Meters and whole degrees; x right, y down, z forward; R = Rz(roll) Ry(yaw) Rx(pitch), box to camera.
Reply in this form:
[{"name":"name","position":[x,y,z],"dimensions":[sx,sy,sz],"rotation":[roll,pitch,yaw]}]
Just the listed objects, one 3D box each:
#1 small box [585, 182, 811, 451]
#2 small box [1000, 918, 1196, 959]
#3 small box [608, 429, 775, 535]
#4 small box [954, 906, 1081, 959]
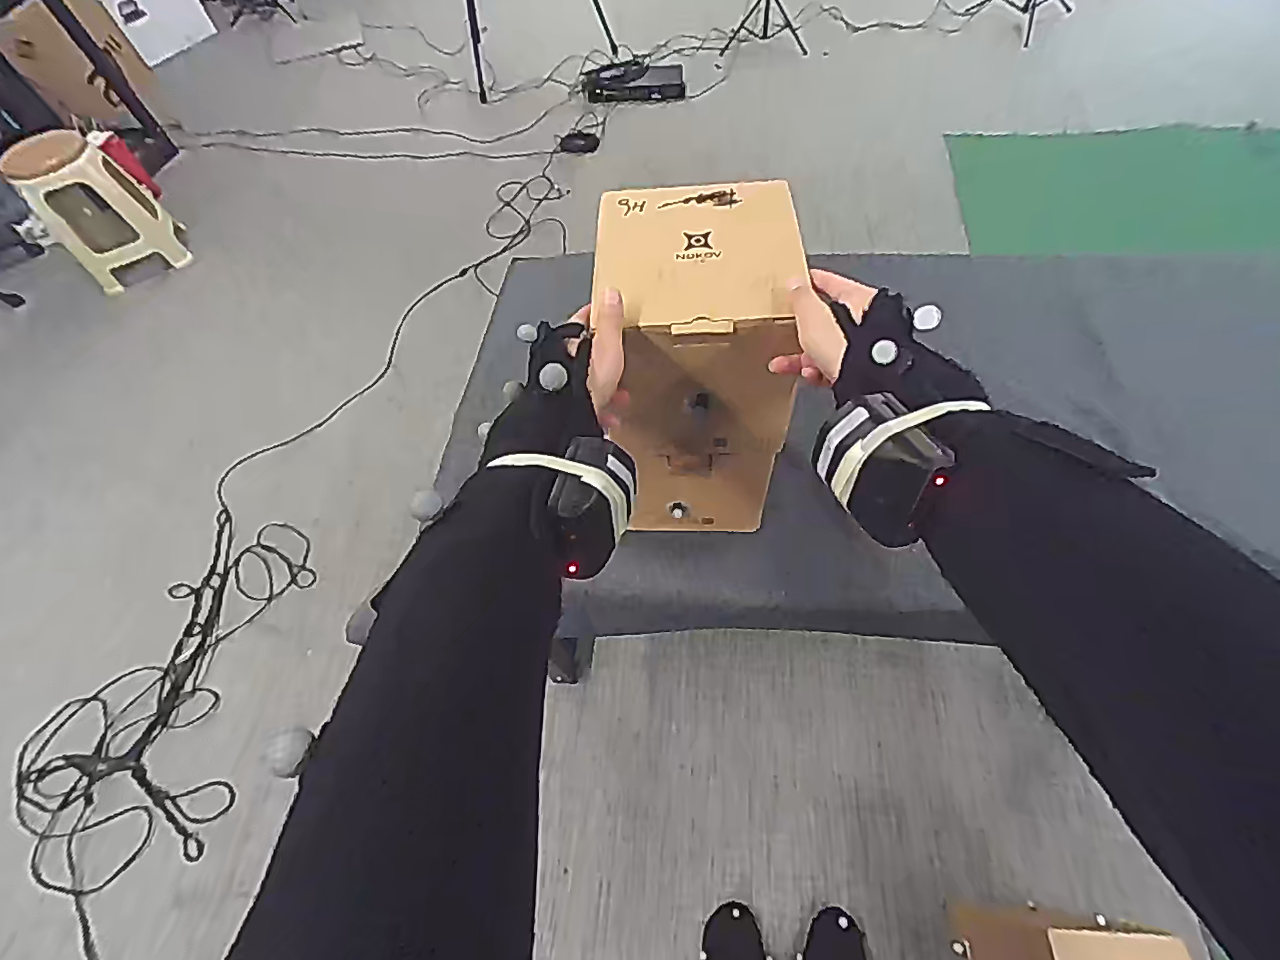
[{"name":"small box","position":[0.050,-0.136,0.495],"dimensions":[0.168,0.176,0.179],"rotation":[-2,59,4]},{"name":"small box","position":[0.652,0.729,0.754],"dimensions":[0.179,0.176,0.168],"rotation":[-1,57,6]},{"name":"small box","position":[0.059,-0.052,0.635],"dimensions":[0.168,0.176,0.179],"rotation":[0,58,5]},{"name":"small box","position":[0.659,0.819,0.892],"dimensions":[0.179,0.176,0.168],"rotation":[-1,57,5]}]
